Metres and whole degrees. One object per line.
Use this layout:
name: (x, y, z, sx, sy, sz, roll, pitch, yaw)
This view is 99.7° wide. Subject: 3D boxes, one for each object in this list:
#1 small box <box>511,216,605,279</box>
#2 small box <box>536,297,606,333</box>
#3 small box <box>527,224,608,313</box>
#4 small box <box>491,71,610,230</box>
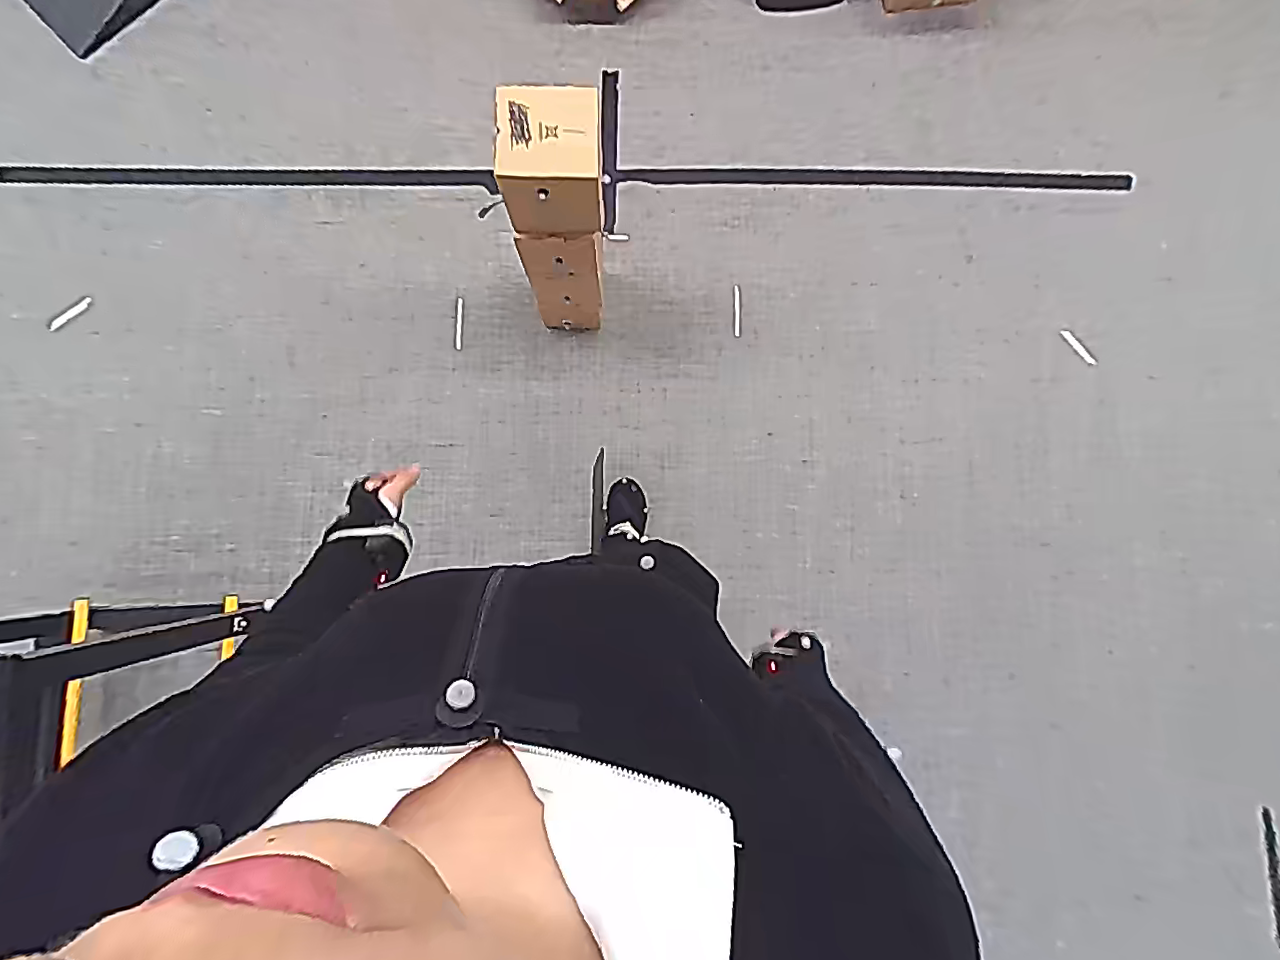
small box: (-0.154, -0.516, 1.072, 0.168, 0.176, 0.179, 1, 85, -1)
small box: (-0.173, -0.495, 1.400, 0.168, 0.176, 0.179, 0, 86, -1)
small box: (-0.159, -0.502, 1.235, 0.168, 0.176, 0.179, 0, 85, -1)
small box: (-0.142, -0.542, 0.909, 0.179, 0.176, 0.168, -1, 84, -2)
